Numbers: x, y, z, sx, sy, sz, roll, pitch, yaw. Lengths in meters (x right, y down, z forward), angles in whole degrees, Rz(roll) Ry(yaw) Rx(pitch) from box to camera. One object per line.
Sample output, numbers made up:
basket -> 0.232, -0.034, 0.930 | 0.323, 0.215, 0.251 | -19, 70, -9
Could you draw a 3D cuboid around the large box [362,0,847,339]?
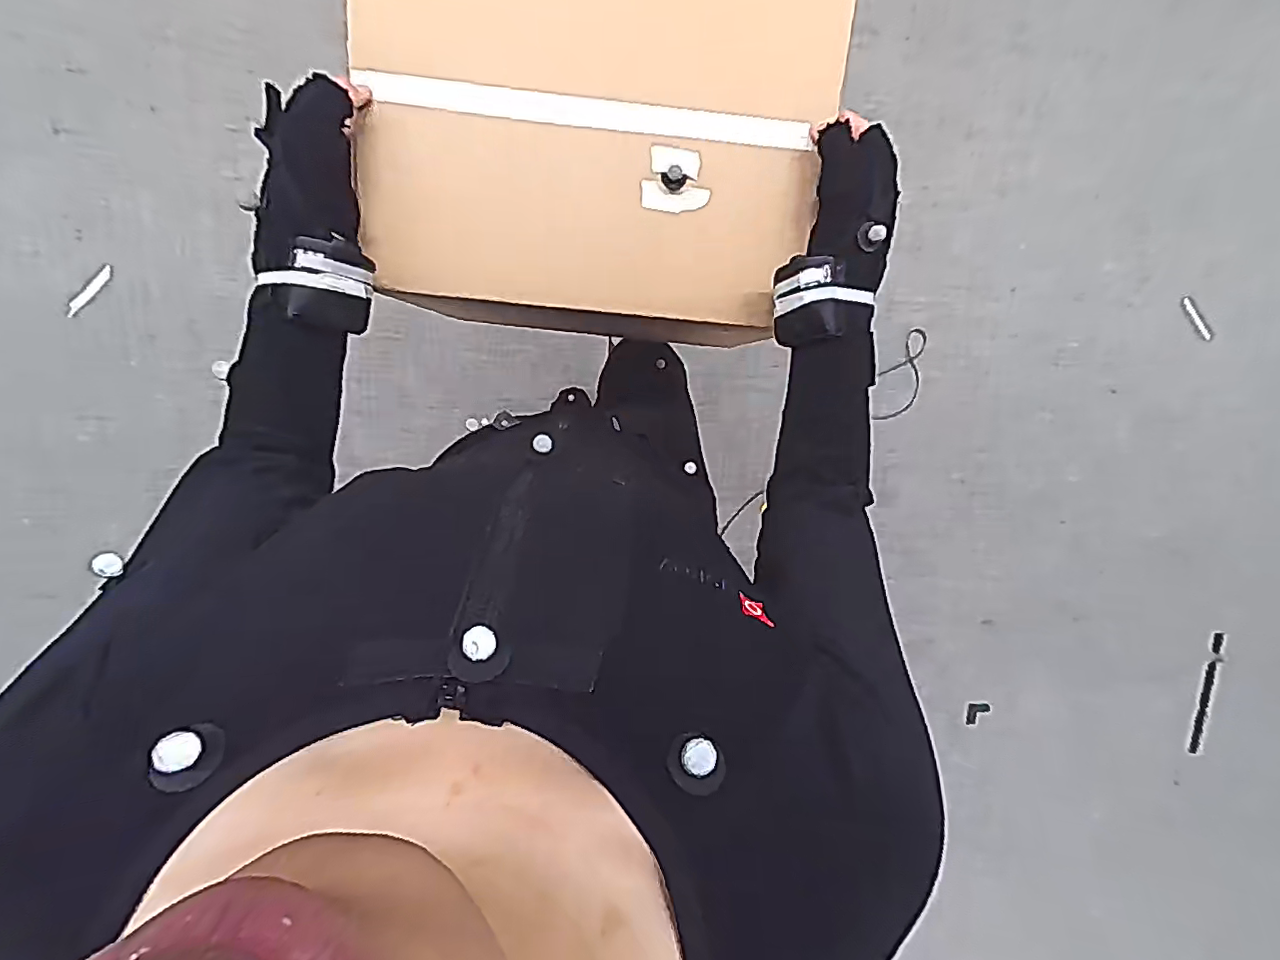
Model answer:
large box -> -0.041, -0.340, 0.604 | 0.408, 0.320, 0.320 | 4, 101, -4
